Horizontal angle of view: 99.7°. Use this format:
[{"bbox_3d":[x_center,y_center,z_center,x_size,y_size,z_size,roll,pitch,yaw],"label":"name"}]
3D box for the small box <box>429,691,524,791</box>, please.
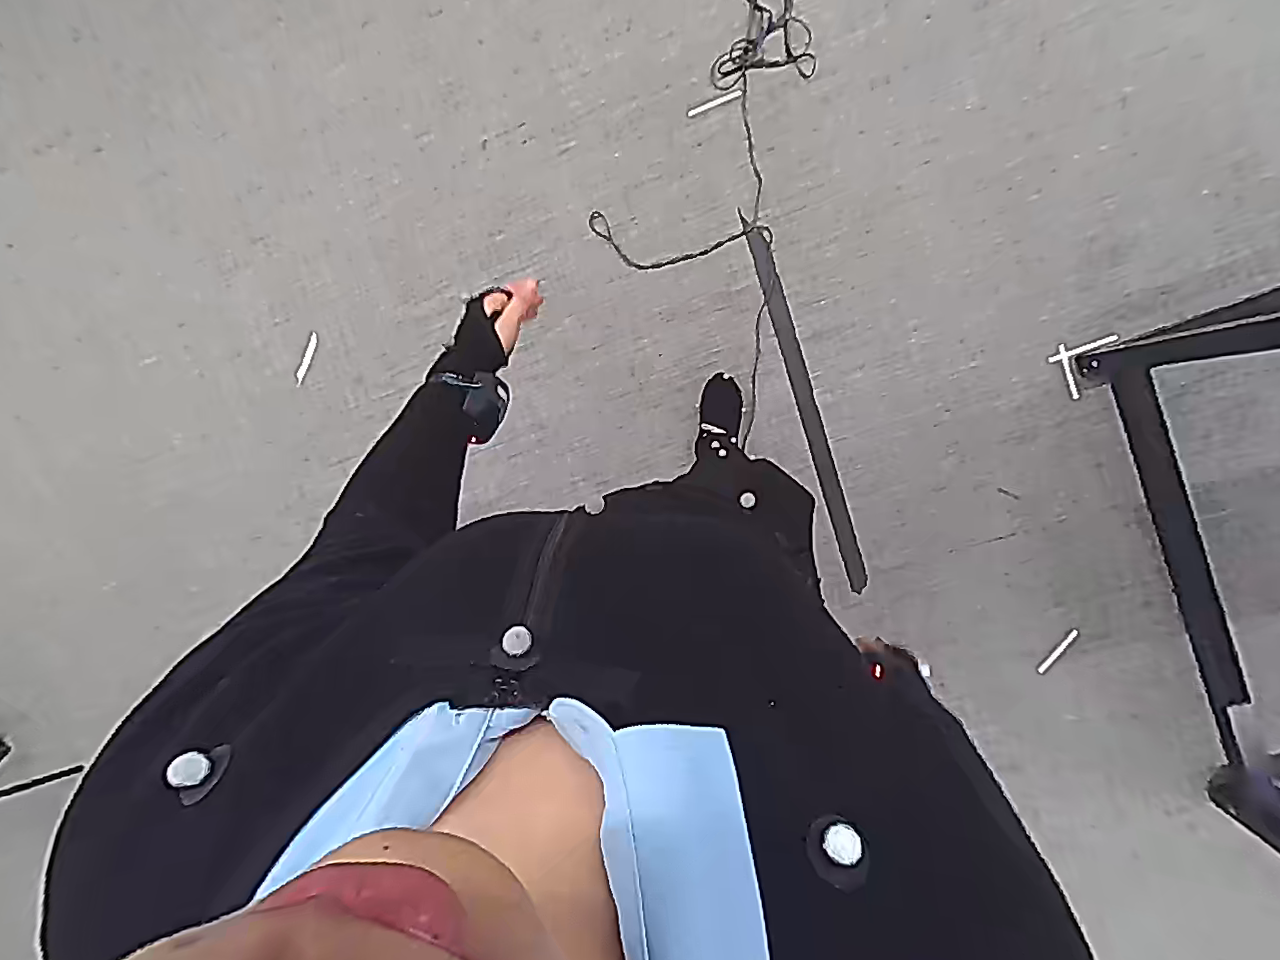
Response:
[{"bbox_3d":[-0.436,0.707,1.483,0.179,0.176,0.168,-21,92,9],"label":"small box"}]
